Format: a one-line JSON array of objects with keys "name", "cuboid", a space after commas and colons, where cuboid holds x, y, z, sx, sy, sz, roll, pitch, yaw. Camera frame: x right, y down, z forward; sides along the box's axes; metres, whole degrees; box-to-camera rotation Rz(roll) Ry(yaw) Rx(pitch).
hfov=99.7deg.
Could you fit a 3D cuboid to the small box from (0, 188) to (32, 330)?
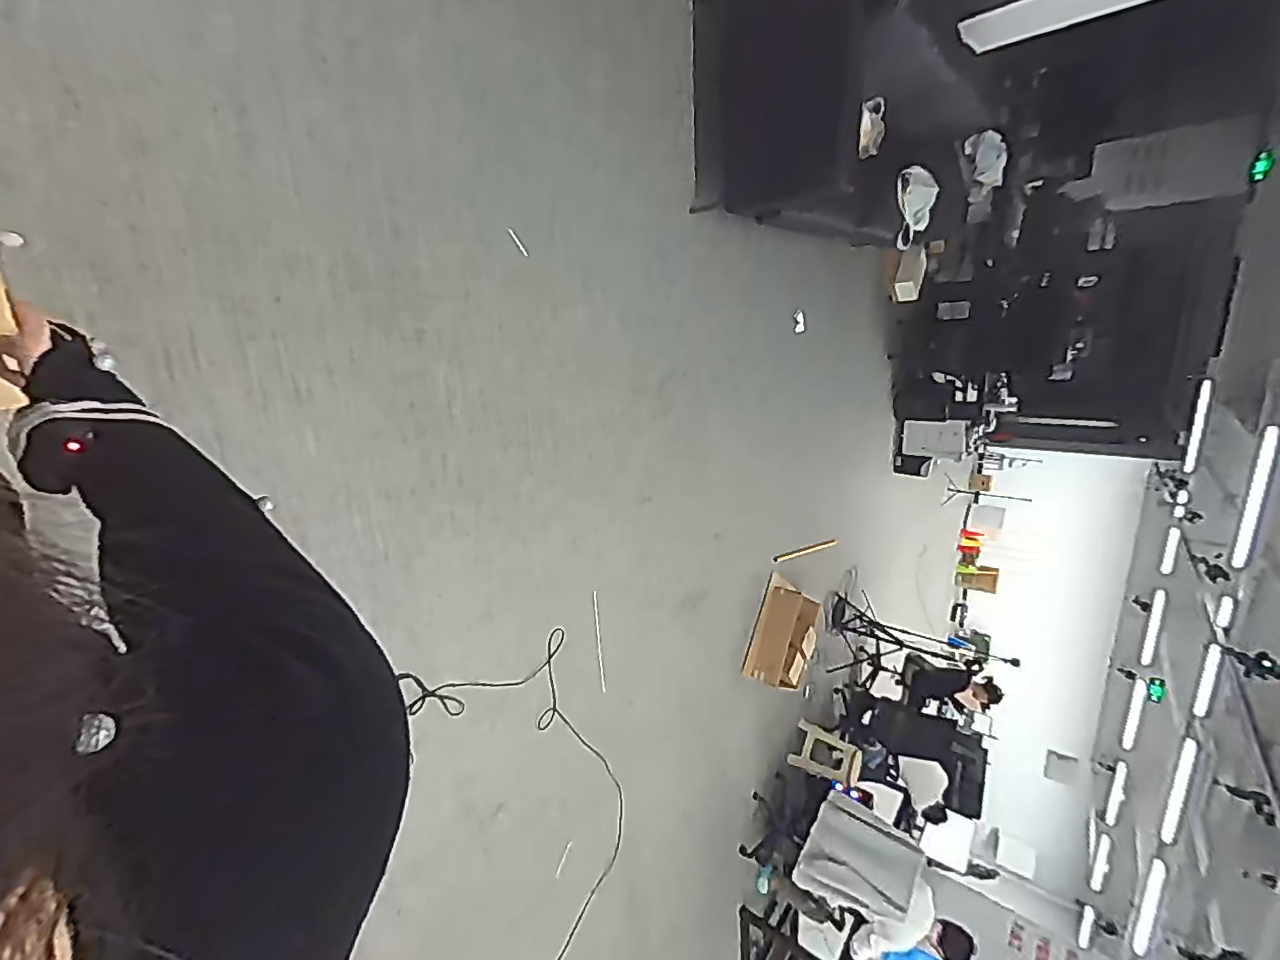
[{"name": "small box", "cuboid": [-0.604, -0.210, 0.406, 0.168, 0.176, 0.179, -16, 109, -47]}]
